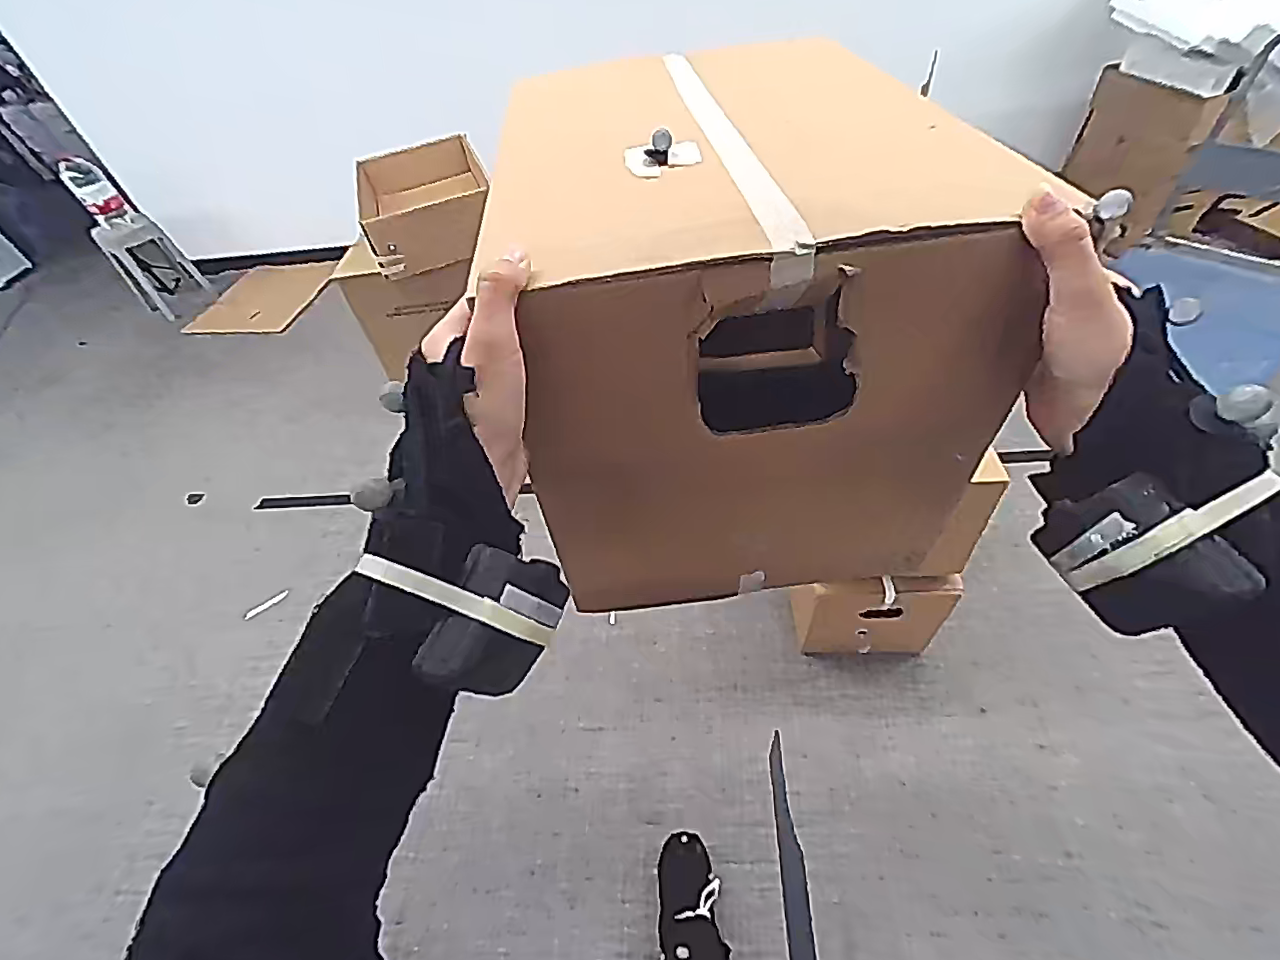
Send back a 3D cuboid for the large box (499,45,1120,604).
[{"bbox_3d":[0.071,-0.152,0.499,0.320,0.320,0.408,-9,49,0],"label":"large box"}]
